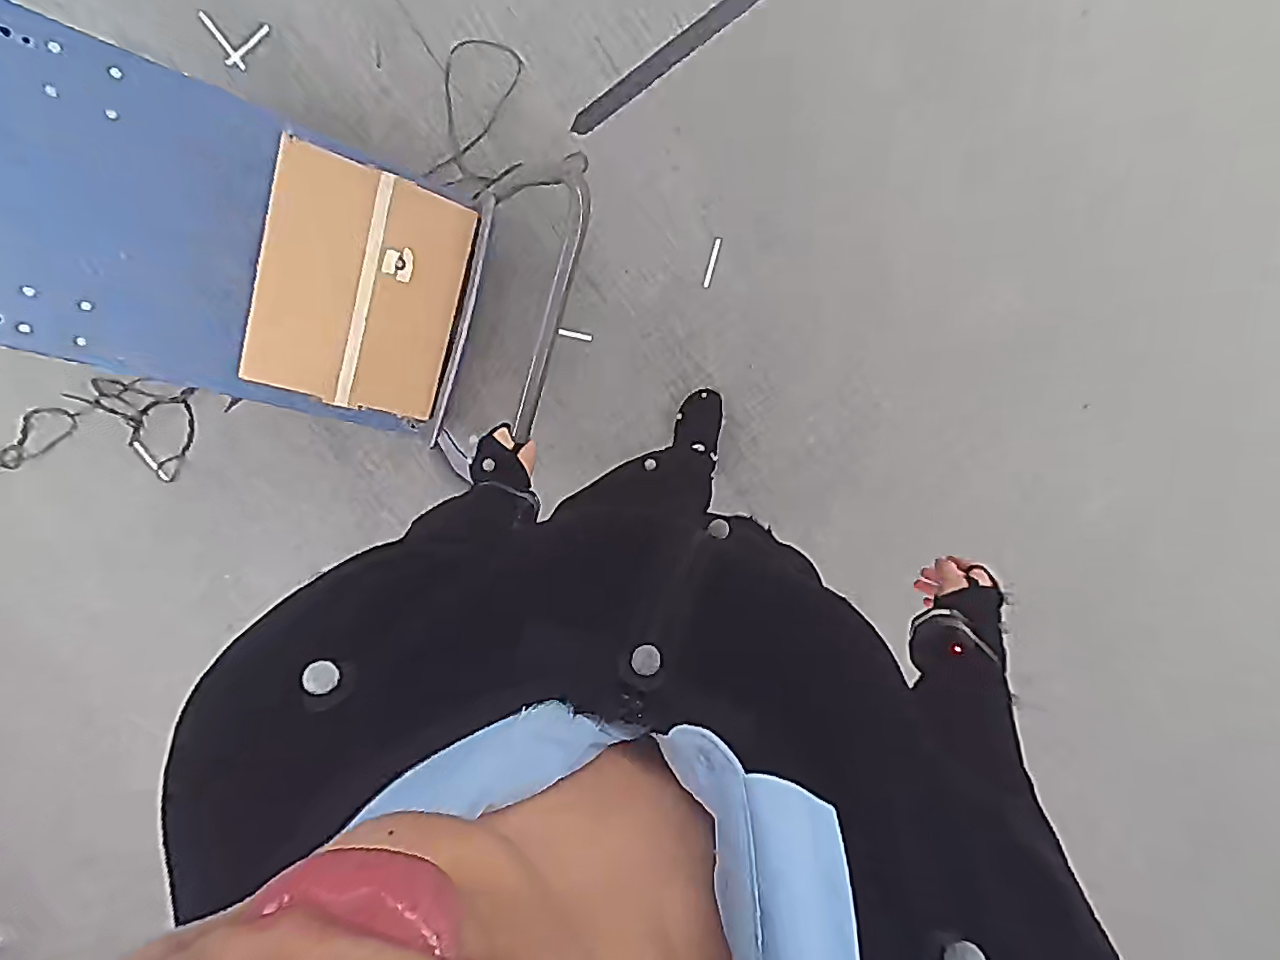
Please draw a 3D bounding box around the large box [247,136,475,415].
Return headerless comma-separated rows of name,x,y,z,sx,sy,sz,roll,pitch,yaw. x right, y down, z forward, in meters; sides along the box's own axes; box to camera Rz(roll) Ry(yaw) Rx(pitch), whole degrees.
large box,-0.551,-0.377,1.096,0.320,0.320,0.408,12,100,-28
